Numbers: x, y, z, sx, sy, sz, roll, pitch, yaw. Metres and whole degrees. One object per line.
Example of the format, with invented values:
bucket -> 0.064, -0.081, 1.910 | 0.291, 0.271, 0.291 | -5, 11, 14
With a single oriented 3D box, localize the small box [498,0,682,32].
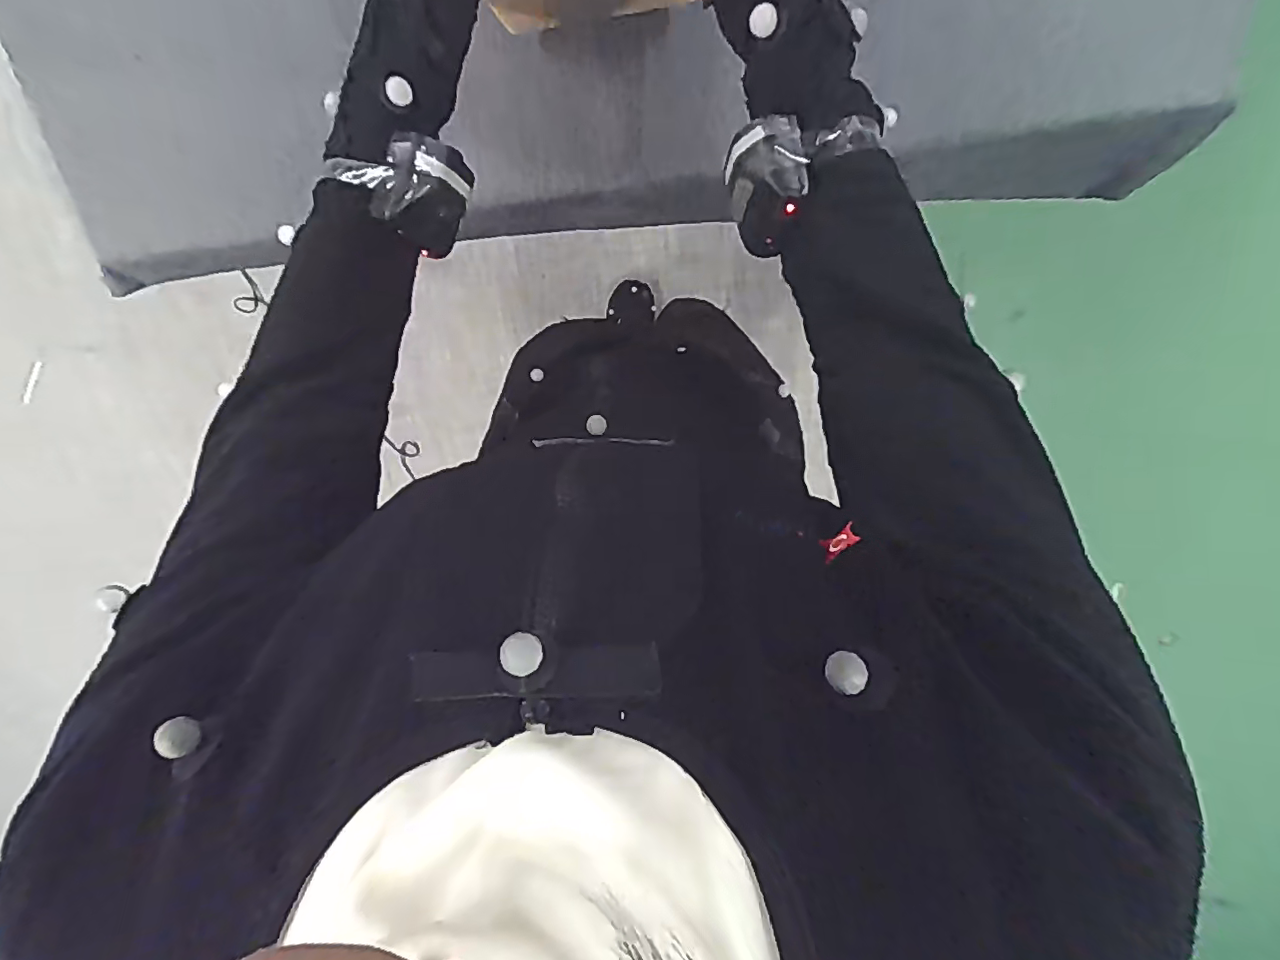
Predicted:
small box -> -0.047, -0.472, 0.404 | 0.179, 0.176, 0.168 | -6, 114, 5
